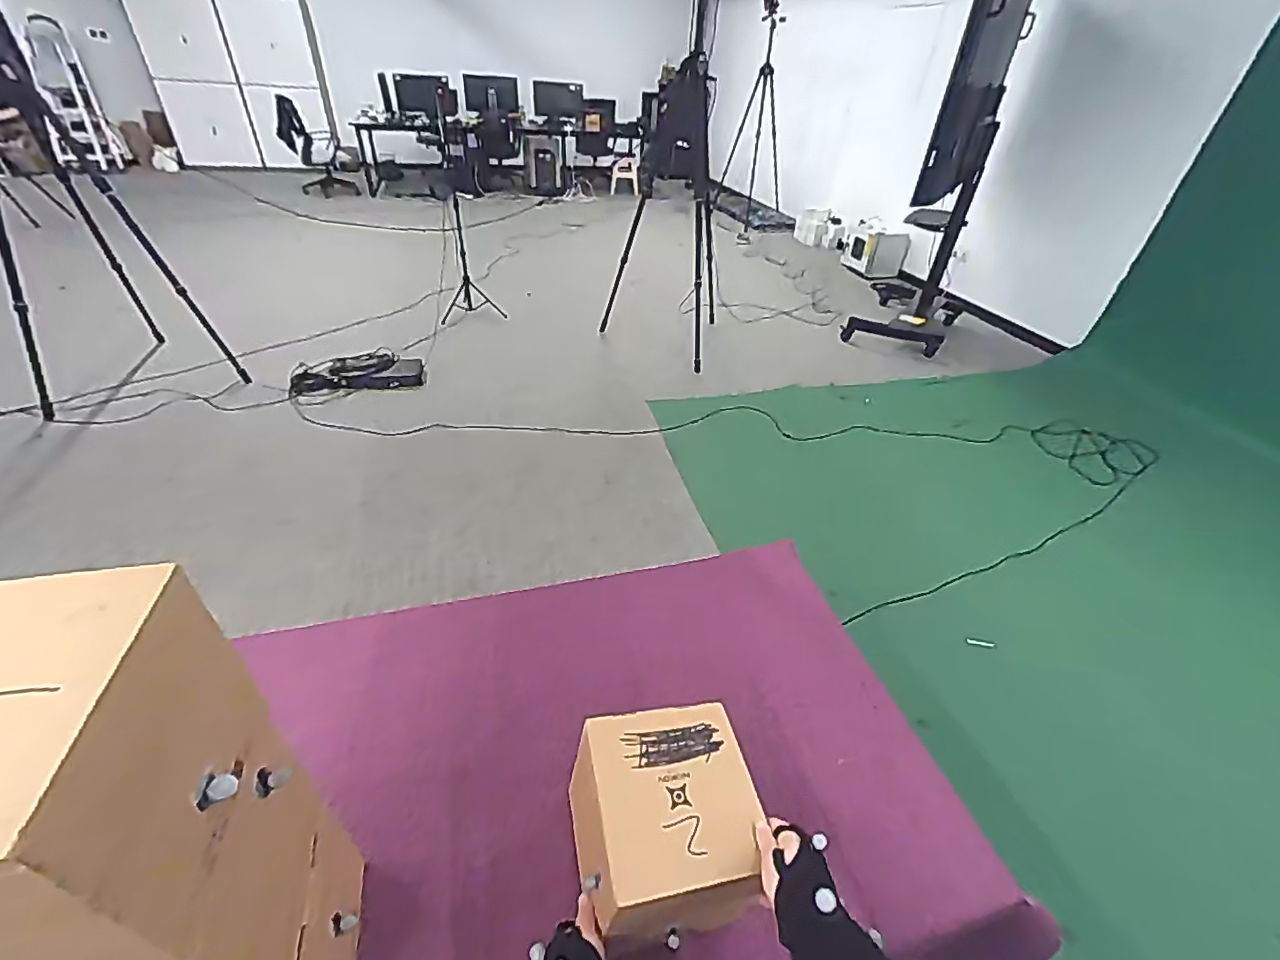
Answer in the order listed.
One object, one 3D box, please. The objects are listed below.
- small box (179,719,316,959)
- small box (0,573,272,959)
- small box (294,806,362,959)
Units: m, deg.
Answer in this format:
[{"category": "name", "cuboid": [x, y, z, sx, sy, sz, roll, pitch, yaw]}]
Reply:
[{"category": "small box", "cuboid": [-0.366, 0.310, 0.404, 0.168, 0.176, 0.179, -8, 40, -14]}, {"category": "small box", "cuboid": [-0.352, 0.179, 0.305, 0.179, 0.176, 0.168, -6, 39, -14]}, {"category": "small box", "cuboid": [-0.374, 0.444, 0.501, 0.179, 0.176, 0.168, -8, 39, -16]}]
